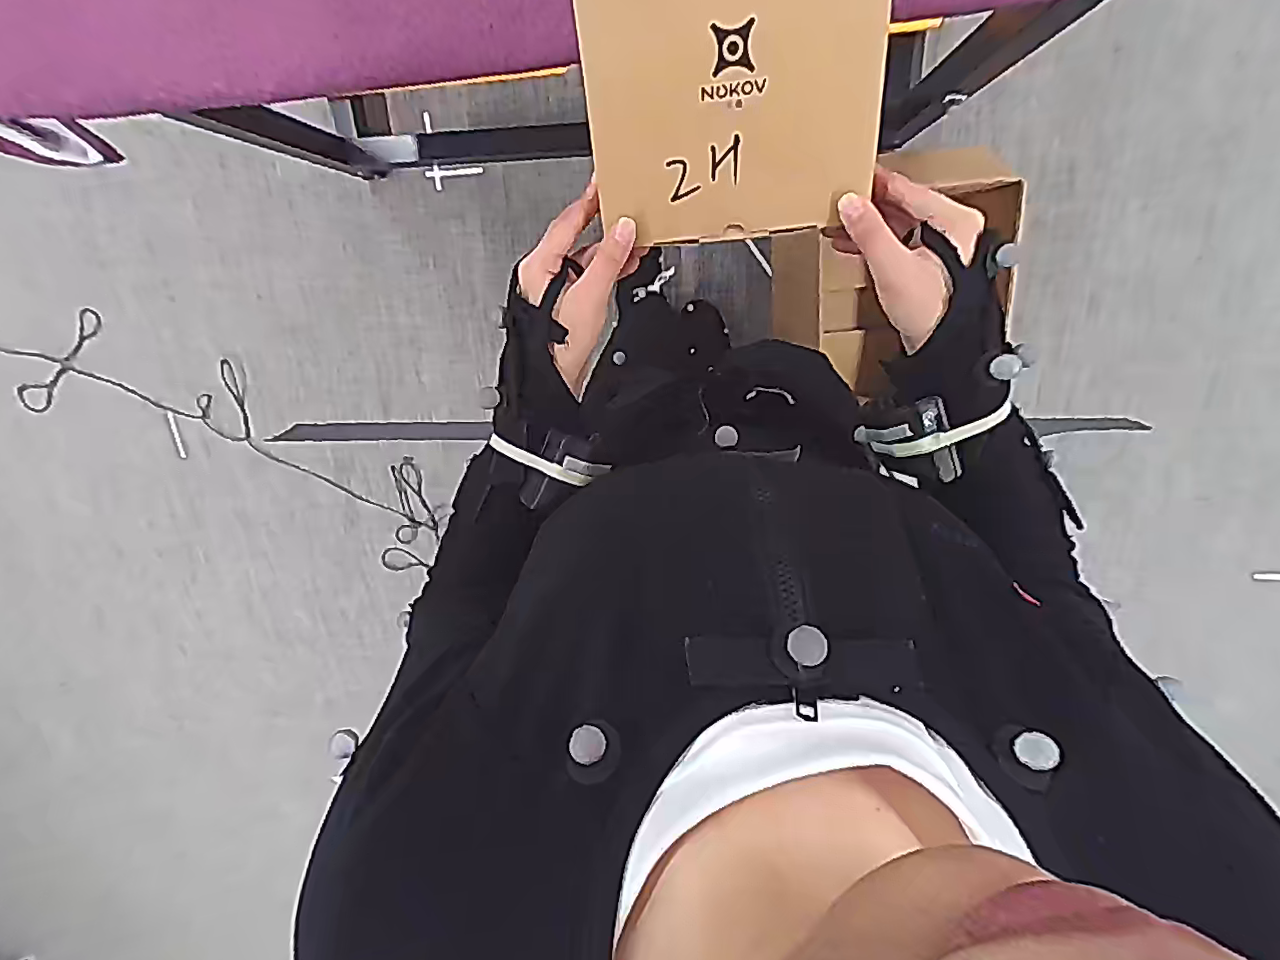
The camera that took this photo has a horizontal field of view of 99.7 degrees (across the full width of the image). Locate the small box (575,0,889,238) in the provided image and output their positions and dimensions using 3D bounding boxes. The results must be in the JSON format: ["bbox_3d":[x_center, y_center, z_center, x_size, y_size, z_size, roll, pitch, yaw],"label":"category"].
[{"bbox_3d":[0.054,-0.271,0.361,0.168,0.176,0.179,-3,120,7],"label":"small box"}]
